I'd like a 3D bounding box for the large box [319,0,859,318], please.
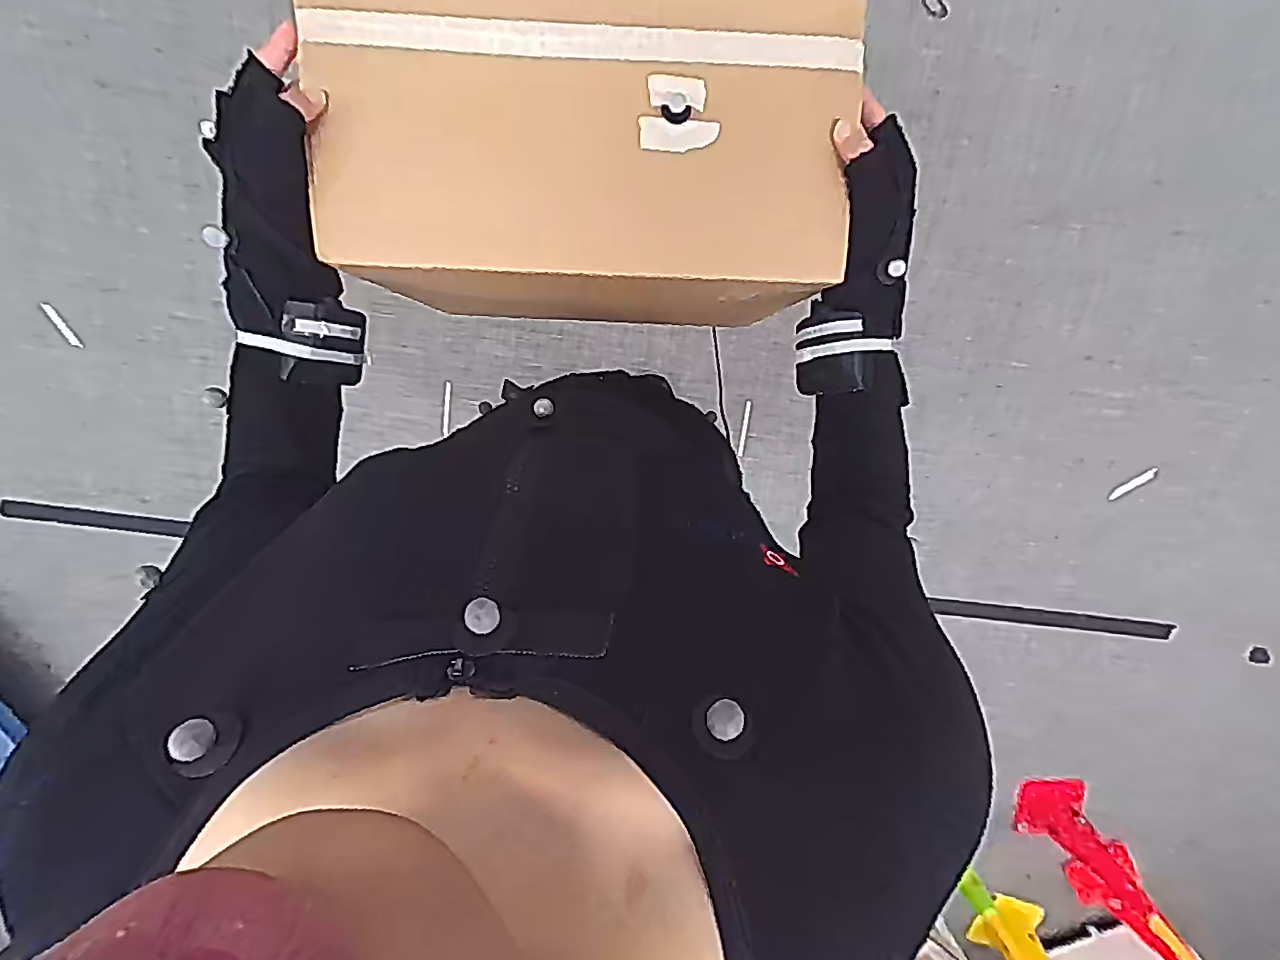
[{"bbox_3d":[-0.043,-0.346,0.547,0.408,0.320,0.320,1,100,-3],"label":"large box"}]
